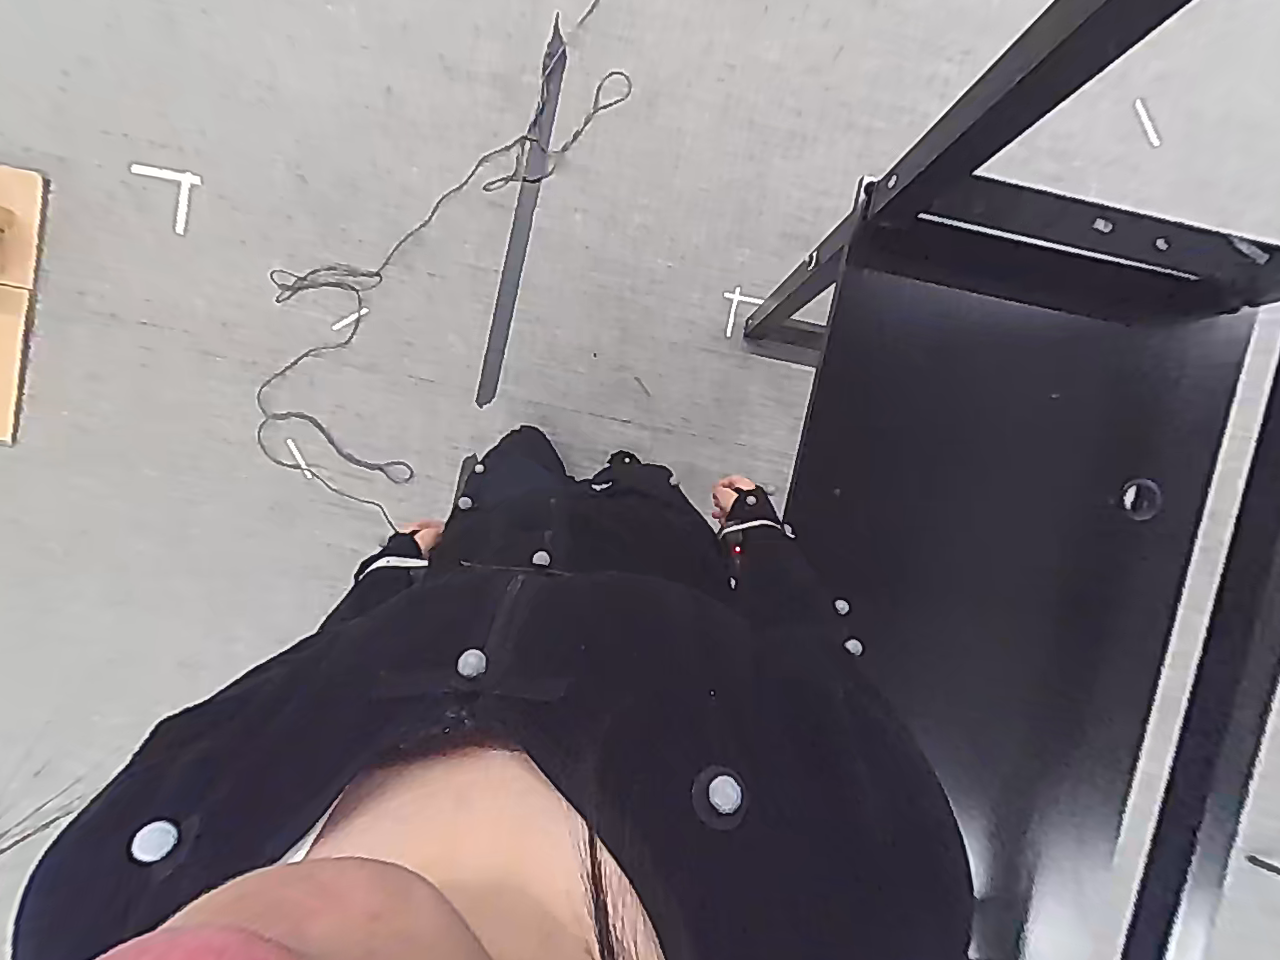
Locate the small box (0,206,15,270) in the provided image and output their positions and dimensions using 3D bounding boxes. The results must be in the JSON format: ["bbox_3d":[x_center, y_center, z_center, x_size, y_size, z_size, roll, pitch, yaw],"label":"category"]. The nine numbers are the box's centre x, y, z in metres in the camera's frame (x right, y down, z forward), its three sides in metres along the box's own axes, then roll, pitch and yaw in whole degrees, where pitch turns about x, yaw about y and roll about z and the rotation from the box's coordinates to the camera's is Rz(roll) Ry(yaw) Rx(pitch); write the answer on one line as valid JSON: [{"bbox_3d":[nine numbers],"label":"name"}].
[{"bbox_3d":[-1.683,-0.617,1.291,0.179,0.176,0.168,11,93,-4],"label":"small box"}]
